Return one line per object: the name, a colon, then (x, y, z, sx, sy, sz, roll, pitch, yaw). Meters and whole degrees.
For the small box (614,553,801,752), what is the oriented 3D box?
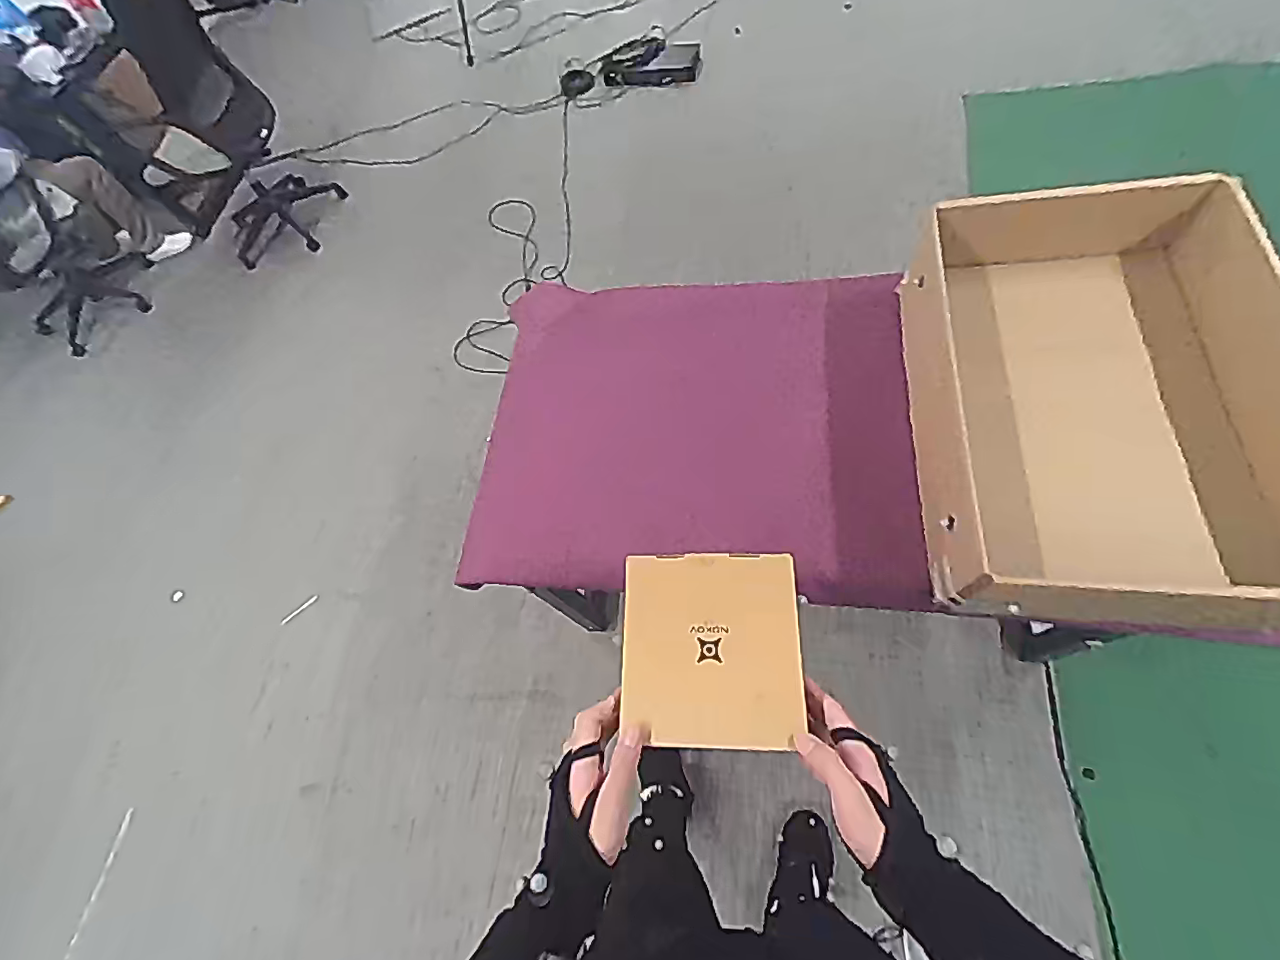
small box: (0.073, 0.187, 0.573, 0.168, 0.176, 0.179, -2, 63, 8)
